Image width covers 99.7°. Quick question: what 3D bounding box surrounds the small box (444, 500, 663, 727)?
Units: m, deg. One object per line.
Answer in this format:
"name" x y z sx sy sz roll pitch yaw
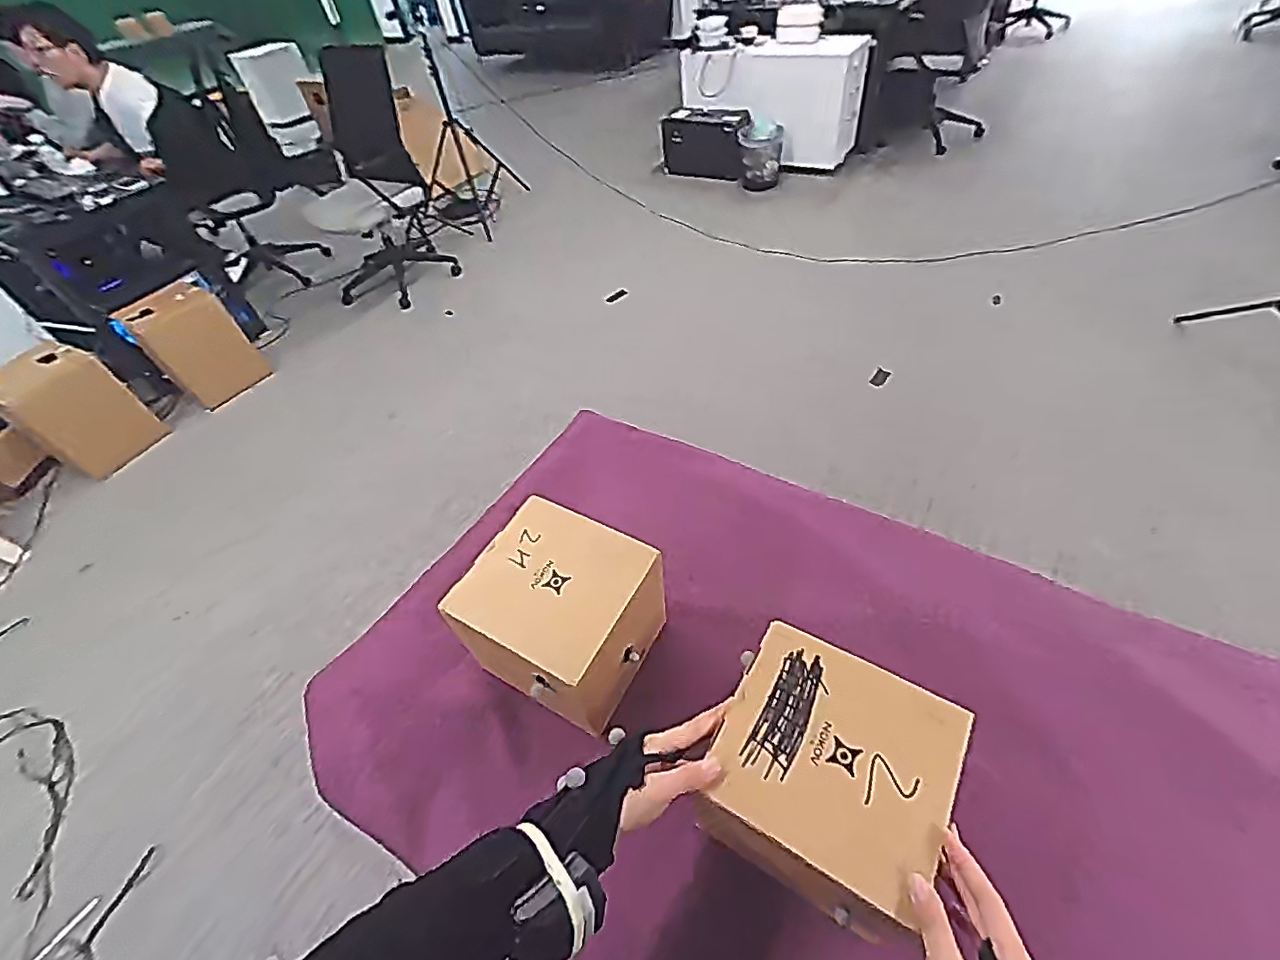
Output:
"small box" -0.084 0.159 0.627 0.179 0.176 0.168 21 54 22
